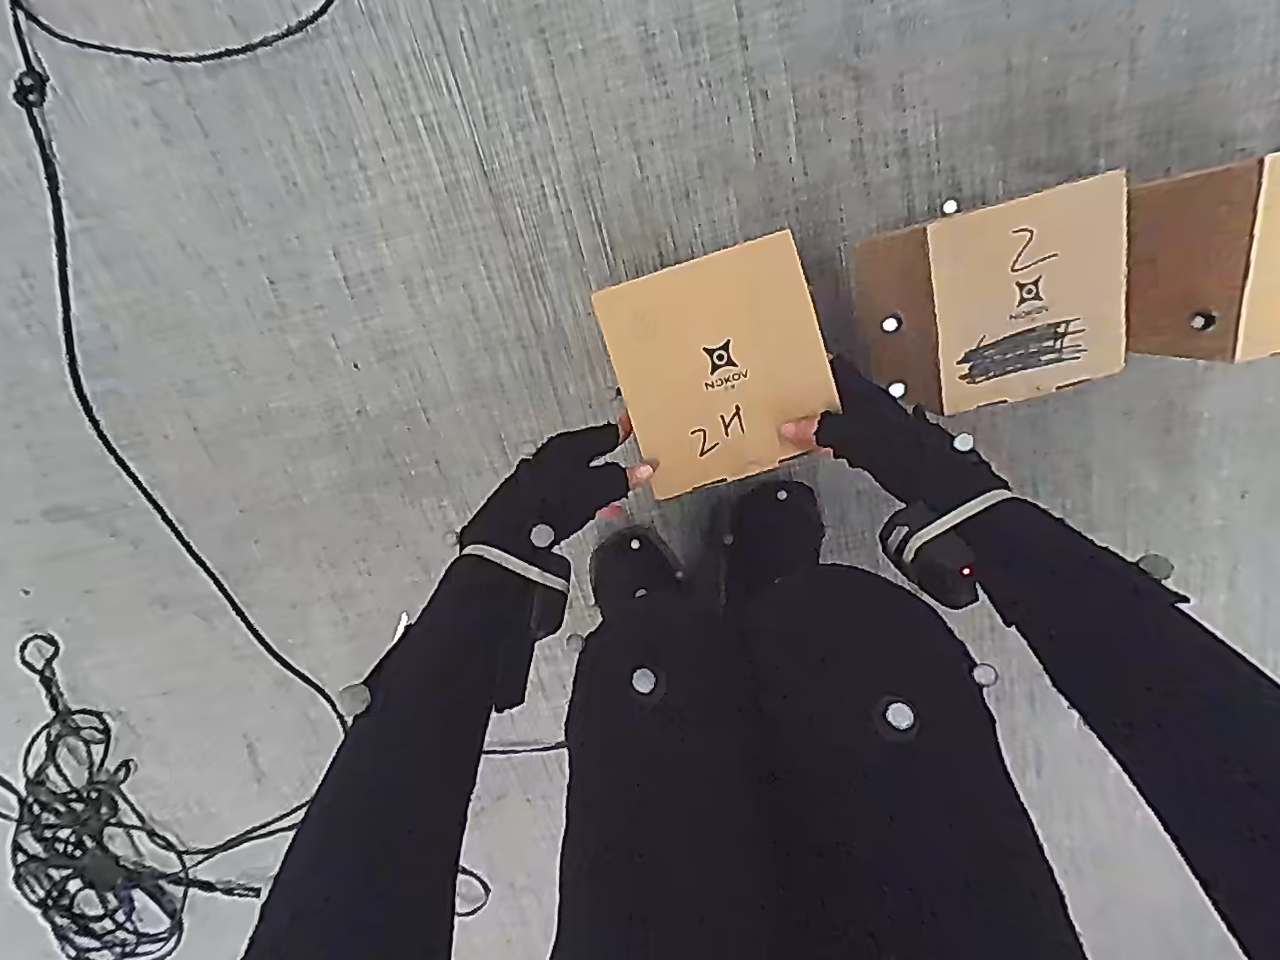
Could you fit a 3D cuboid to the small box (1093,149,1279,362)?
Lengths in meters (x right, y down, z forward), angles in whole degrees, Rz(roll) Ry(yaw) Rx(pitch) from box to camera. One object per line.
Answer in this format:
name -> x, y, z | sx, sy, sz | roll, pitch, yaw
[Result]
small box -> 0.606, -0.228, 0.544 | 0.168, 0.176, 0.179 | -11, 109, 4
